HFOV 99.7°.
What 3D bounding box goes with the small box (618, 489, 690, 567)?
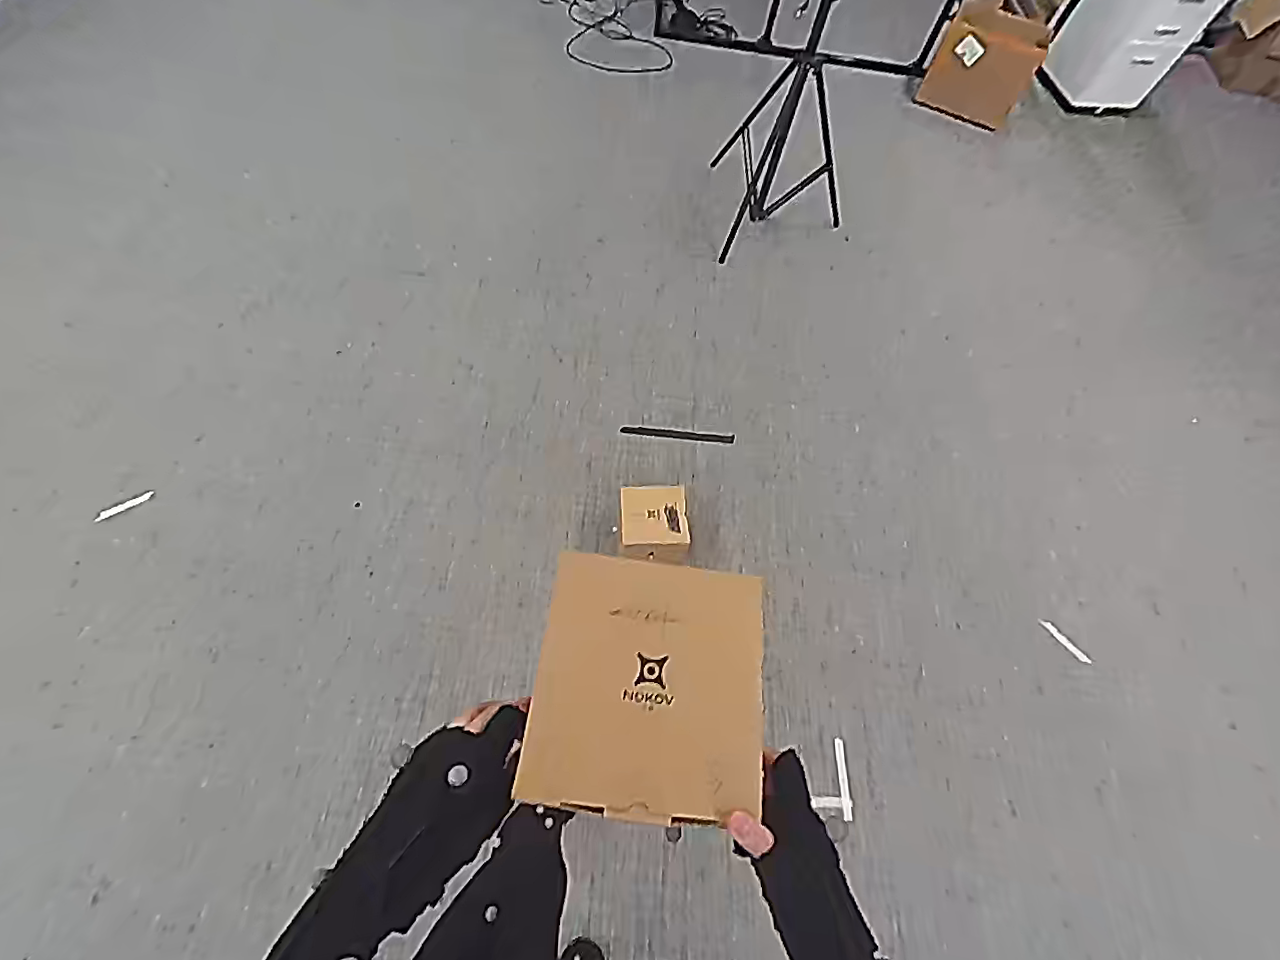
[{"bbox_3d":[0.032,0.134,1.472,0.179,0.176,0.168,0,62,-6],"label":"small box"}]
